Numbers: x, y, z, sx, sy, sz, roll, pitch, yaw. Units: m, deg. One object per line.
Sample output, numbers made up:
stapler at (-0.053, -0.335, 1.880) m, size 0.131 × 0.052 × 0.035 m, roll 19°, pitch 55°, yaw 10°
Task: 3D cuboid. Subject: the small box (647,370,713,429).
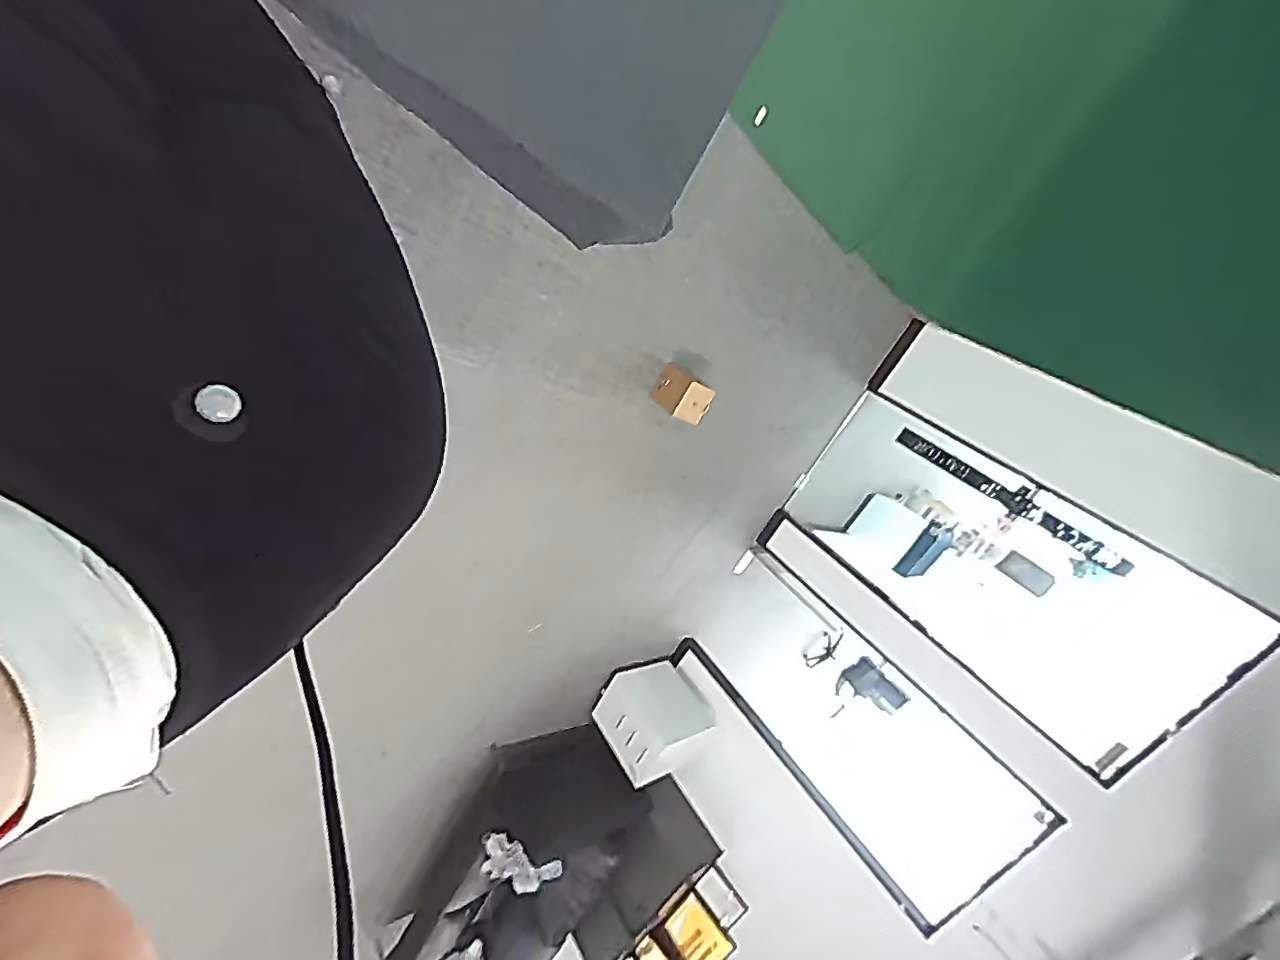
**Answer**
small box at (0.165, -0.339, 2.255) m, size 0.179 × 0.176 × 0.168 m, roll 15°, pitch 111°, yaw -49°
